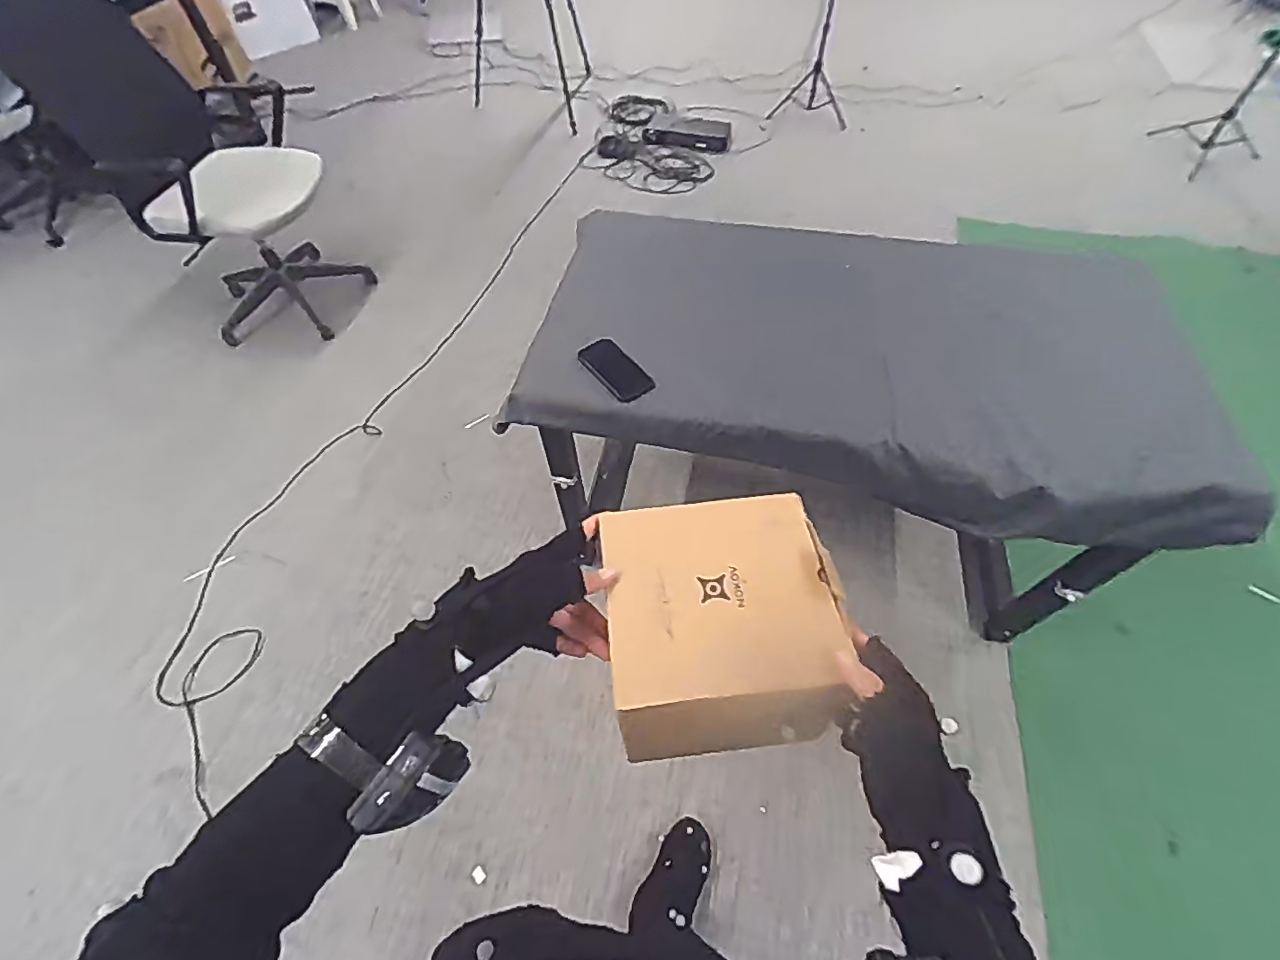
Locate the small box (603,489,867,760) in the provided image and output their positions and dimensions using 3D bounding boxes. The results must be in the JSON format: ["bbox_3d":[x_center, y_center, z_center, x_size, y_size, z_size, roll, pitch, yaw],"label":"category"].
[{"bbox_3d":[0.066,0.131,0.477,0.179,0.176,0.168,-8,50,-1],"label":"small box"}]
